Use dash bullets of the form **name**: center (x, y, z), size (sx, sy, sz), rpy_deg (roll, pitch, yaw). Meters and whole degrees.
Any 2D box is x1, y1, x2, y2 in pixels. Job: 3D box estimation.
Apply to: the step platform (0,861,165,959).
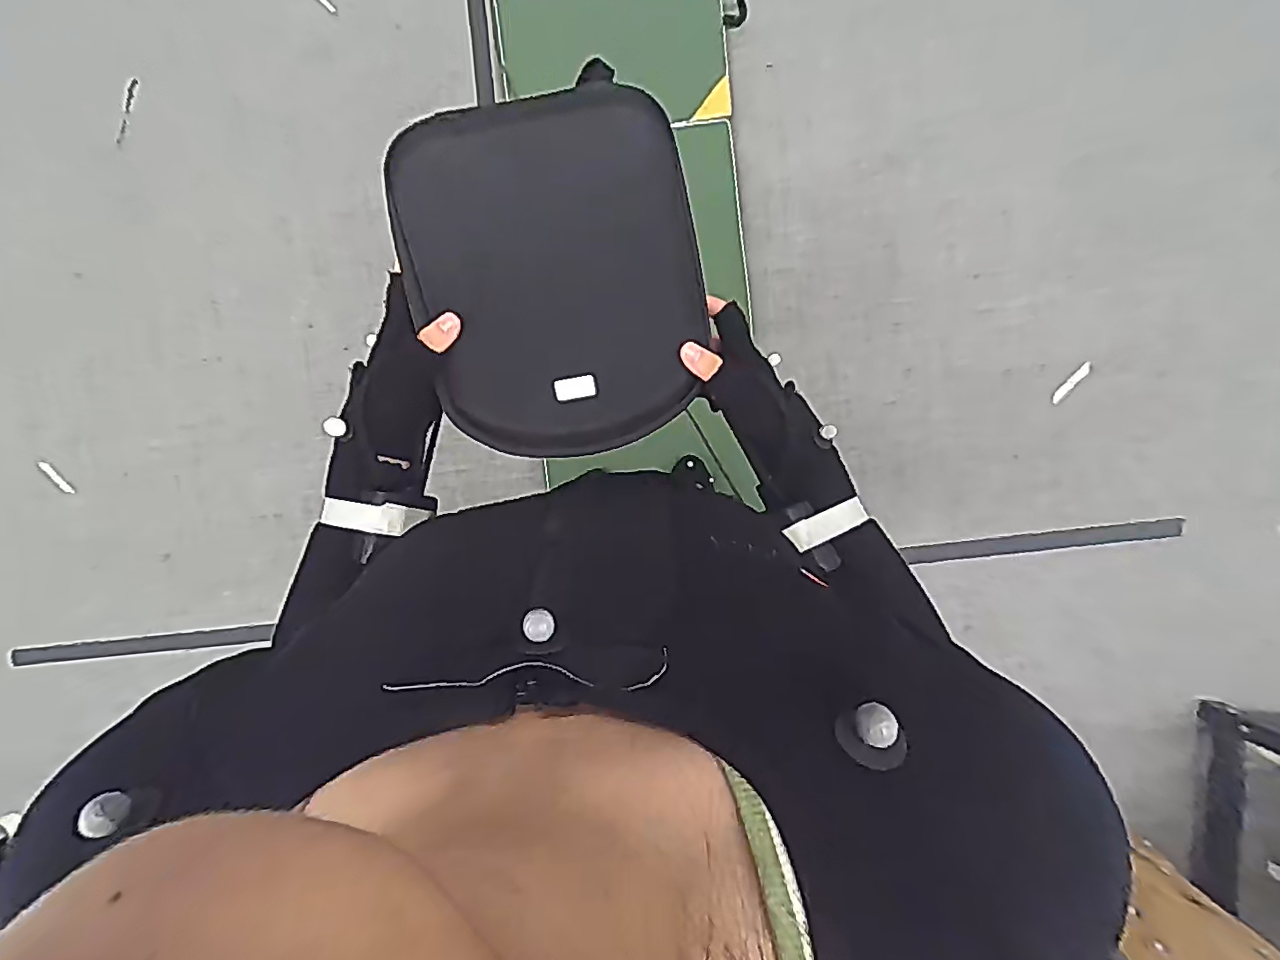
- **step platform**: center (-1.762, 1.430, 1.546), size (0.684, 0.204, 0.286), rpy_deg (-36, 90, 2)
